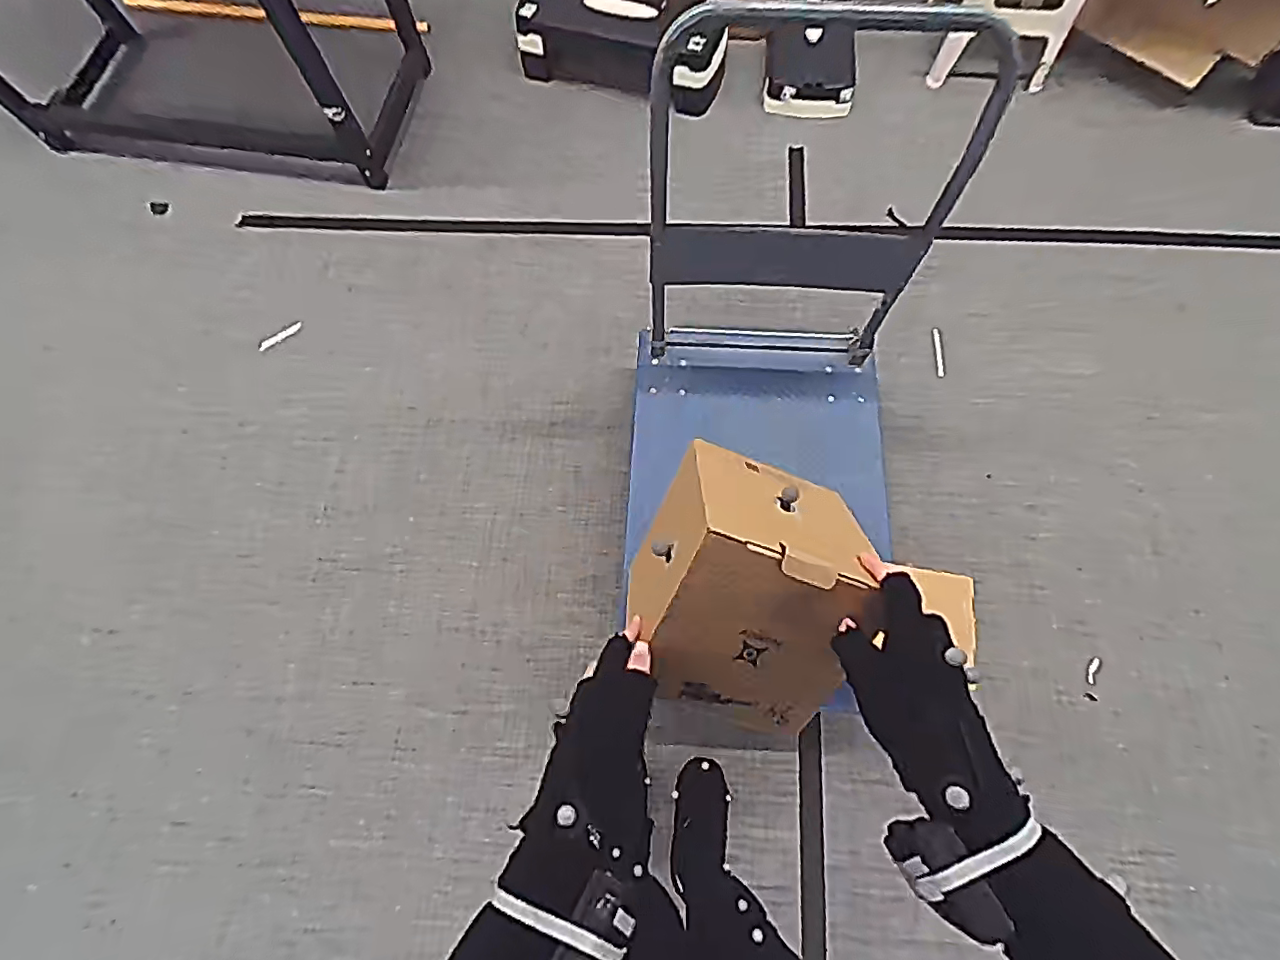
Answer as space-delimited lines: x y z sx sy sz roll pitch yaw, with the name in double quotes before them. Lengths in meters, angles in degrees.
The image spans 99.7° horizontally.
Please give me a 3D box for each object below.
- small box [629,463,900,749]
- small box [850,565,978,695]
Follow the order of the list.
"small box" 0.096 0.107 0.510 0.168 0.176 0.179 21 114 -8
"small box" 0.405 0.243 0.869 0.179 0.176 0.168 9 71 3
